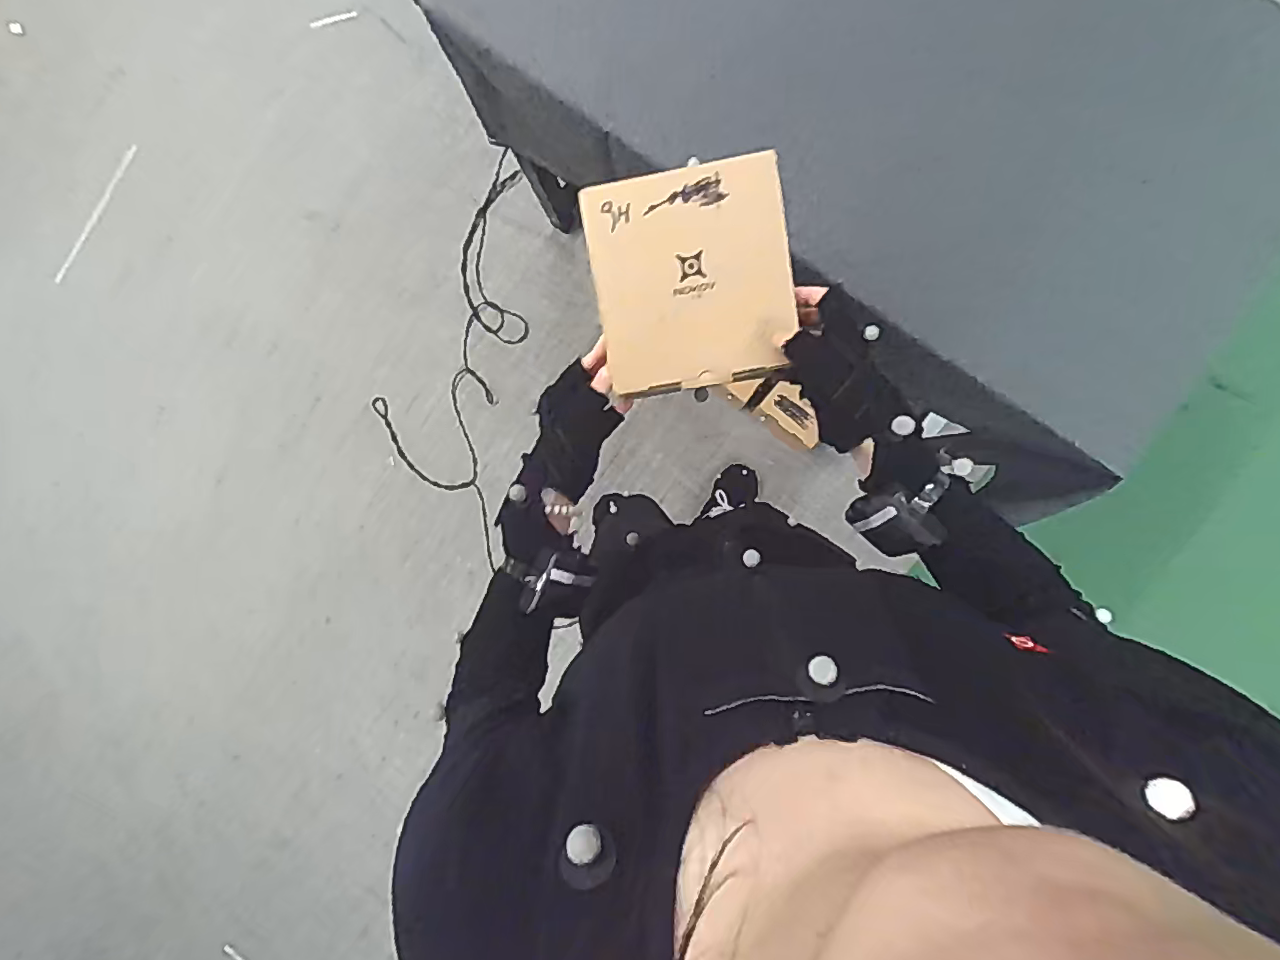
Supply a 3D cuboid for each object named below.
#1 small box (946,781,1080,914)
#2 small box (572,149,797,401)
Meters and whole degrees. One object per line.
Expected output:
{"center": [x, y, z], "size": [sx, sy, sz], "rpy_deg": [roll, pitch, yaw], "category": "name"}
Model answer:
{"center": [0.920, 0.905, 1.351], "size": [0.168, 0.176, 0.179], "rpy_deg": [-44, 86, 3], "category": "small box"}
{"center": [0.042, -0.177, 0.522], "size": [0.168, 0.176, 0.179], "rpy_deg": [-10, 97, 4], "category": "small box"}
